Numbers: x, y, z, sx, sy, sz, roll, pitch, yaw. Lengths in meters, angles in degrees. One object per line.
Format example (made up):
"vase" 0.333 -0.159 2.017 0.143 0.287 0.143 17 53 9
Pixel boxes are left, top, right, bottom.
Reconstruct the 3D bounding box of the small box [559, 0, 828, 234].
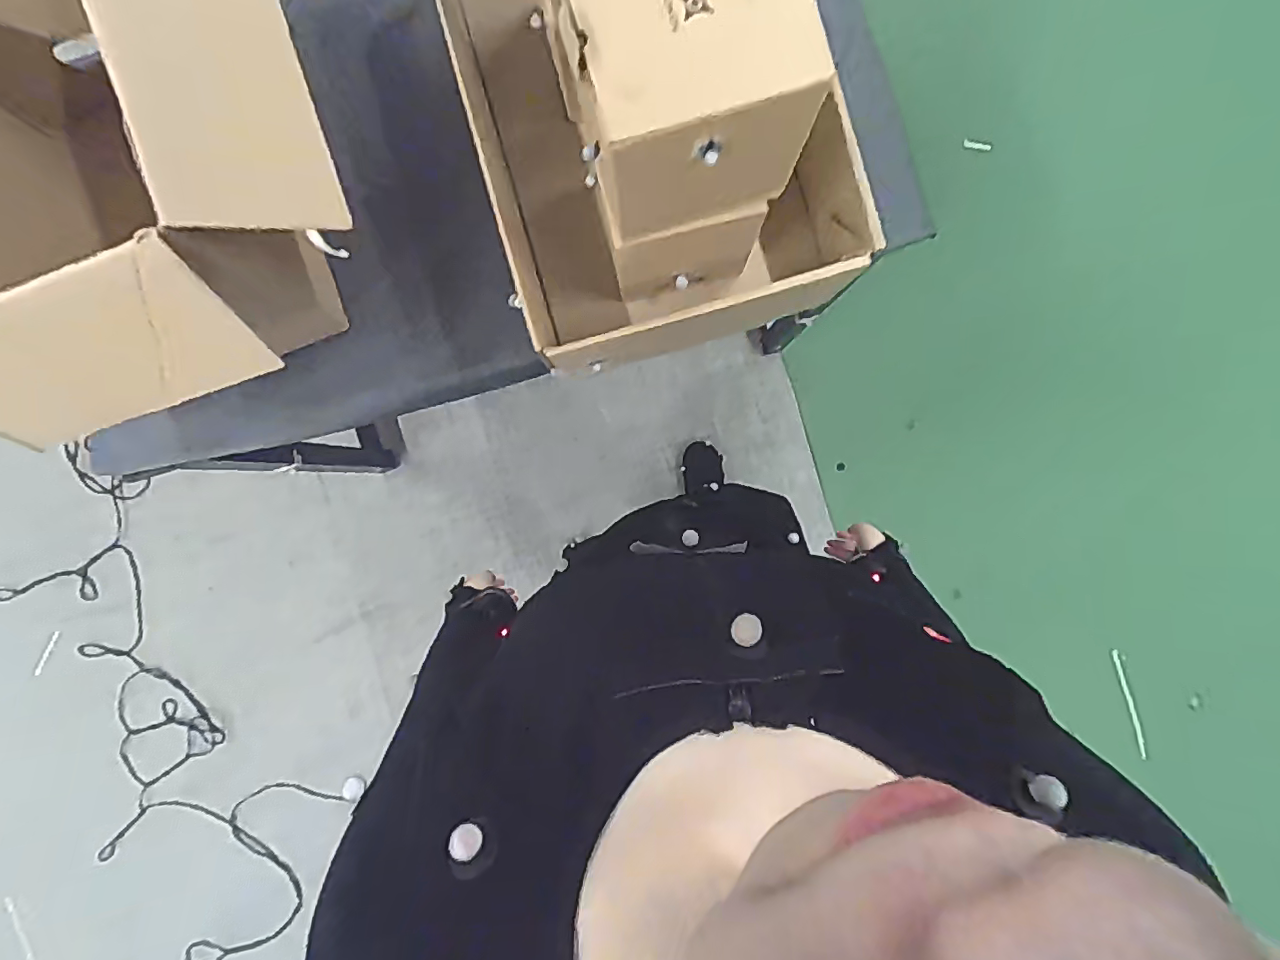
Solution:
"small box" 0.038 -0.348 0.479 0.179 0.176 0.168 -16 90 1
